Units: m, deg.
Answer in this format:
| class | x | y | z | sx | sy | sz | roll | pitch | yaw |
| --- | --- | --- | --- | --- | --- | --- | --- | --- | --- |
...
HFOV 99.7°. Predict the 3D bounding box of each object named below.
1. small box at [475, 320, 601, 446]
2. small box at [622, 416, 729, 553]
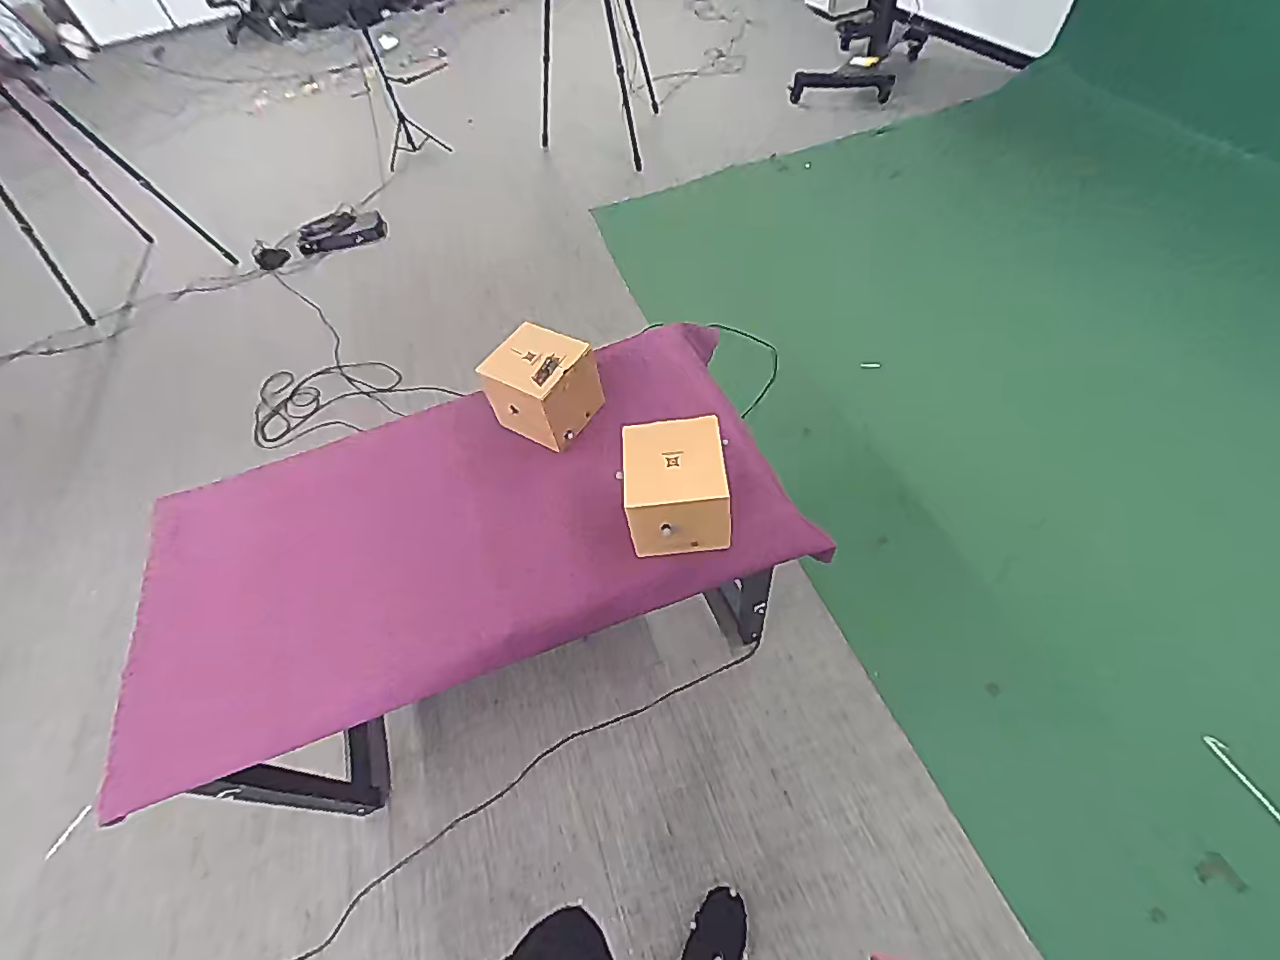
| class | x | y | z | sx | sy | sz | roll | pitch | yaw |
| --- | --- | --- | --- | --- | --- | --- | --- | --- | --- |
| small box | -0.201 | -0.194 | 1.121 | 0.179 | 0.176 | 0.168 | 25 | 62 | 23 |
| small box | 0.063 | 0.016 | 0.938 | 0.168 | 0.176 | 0.179 | -6 | 52 | 5 |
